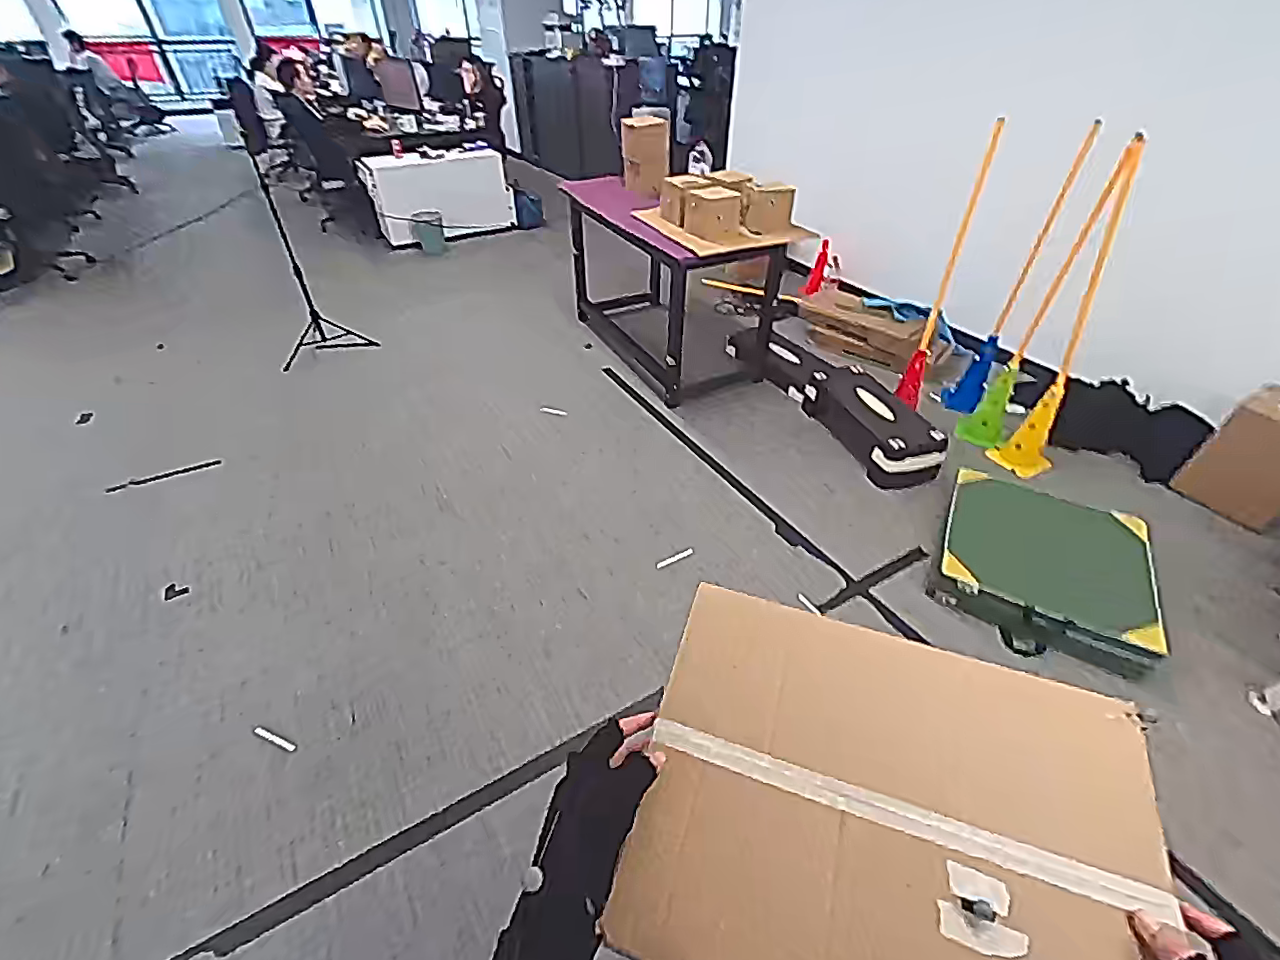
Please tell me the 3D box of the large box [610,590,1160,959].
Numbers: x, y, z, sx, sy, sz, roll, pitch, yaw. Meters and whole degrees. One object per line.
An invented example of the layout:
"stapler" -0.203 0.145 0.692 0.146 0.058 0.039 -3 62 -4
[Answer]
"large box" 0.213 0.369 0.584 0.408 0.320 0.320 14 55 14
